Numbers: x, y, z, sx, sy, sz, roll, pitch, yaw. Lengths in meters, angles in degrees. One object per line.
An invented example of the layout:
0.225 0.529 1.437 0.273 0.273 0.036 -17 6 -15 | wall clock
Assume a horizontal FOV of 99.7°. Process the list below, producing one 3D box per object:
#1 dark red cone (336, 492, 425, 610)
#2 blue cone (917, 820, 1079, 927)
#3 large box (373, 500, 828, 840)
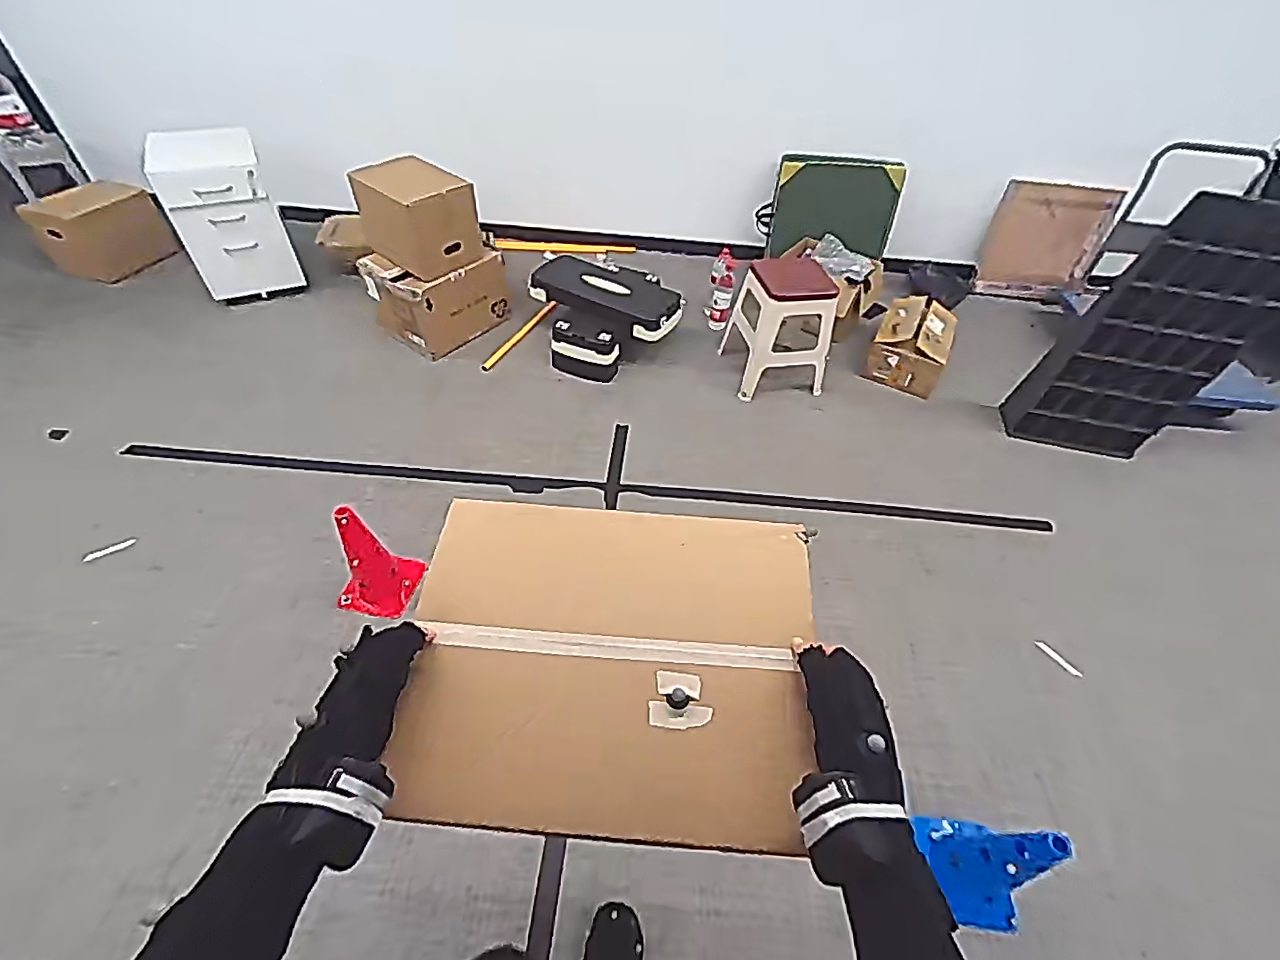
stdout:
-0.758 0.176 1.493 0.201 0.394 0.202 11 48 4 | dark red cone
0.751 0.783 1.115 0.192 0.380 0.193 9 48 2 | blue cone
-0.031 0.245 0.669 0.408 0.320 0.320 5 57 1 | large box
